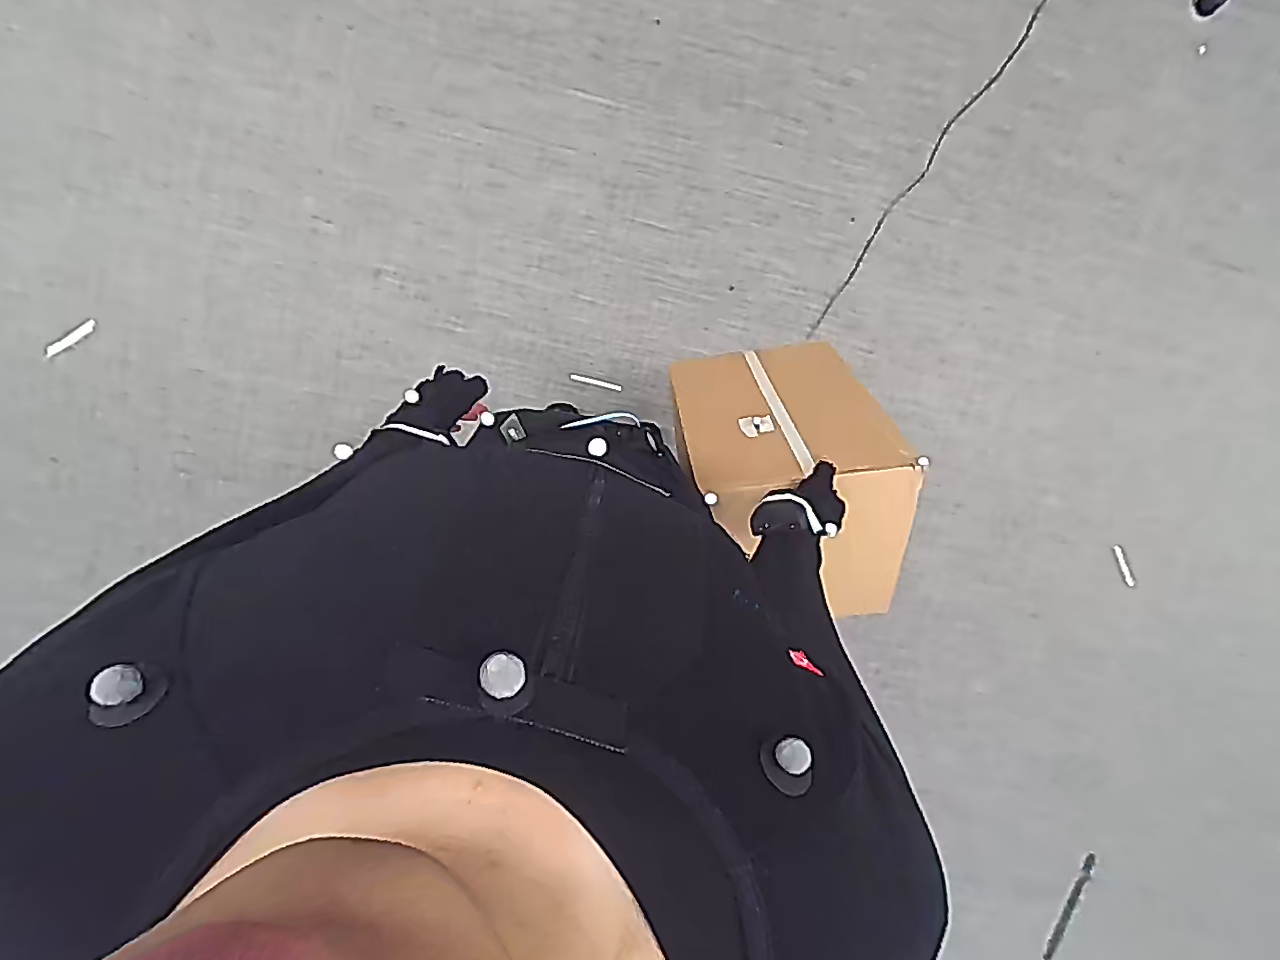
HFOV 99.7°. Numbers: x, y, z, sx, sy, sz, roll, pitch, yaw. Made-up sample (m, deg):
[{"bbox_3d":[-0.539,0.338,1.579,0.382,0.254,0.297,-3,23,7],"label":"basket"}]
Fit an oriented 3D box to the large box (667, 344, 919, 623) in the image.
[{"bbox_3d":[0.236,-0.007,0.992,0.320,0.408,0.320,-8,129,2],"label":"large box"}]
